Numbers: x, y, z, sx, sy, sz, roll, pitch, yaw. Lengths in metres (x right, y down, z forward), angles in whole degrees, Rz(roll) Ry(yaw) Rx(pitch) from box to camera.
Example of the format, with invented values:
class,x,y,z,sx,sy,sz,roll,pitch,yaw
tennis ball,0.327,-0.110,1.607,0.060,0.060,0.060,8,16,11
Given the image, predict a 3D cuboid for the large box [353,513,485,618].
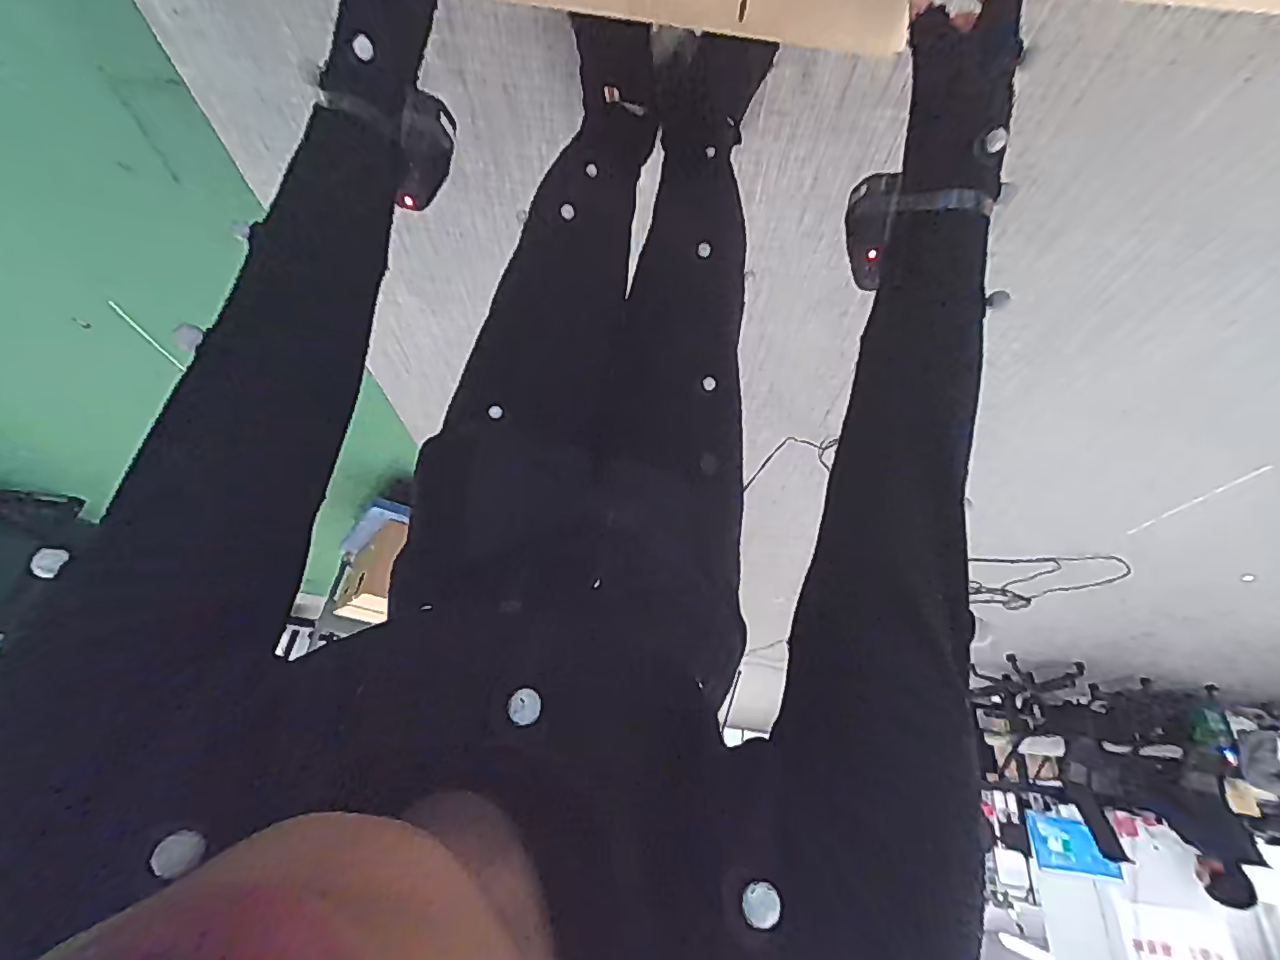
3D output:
class,x,y,z,sx,sy,sz,roll,pitch,yaw
large box,-0.932,0.372,2.291,0.408,0.320,0.320,24,149,-30
